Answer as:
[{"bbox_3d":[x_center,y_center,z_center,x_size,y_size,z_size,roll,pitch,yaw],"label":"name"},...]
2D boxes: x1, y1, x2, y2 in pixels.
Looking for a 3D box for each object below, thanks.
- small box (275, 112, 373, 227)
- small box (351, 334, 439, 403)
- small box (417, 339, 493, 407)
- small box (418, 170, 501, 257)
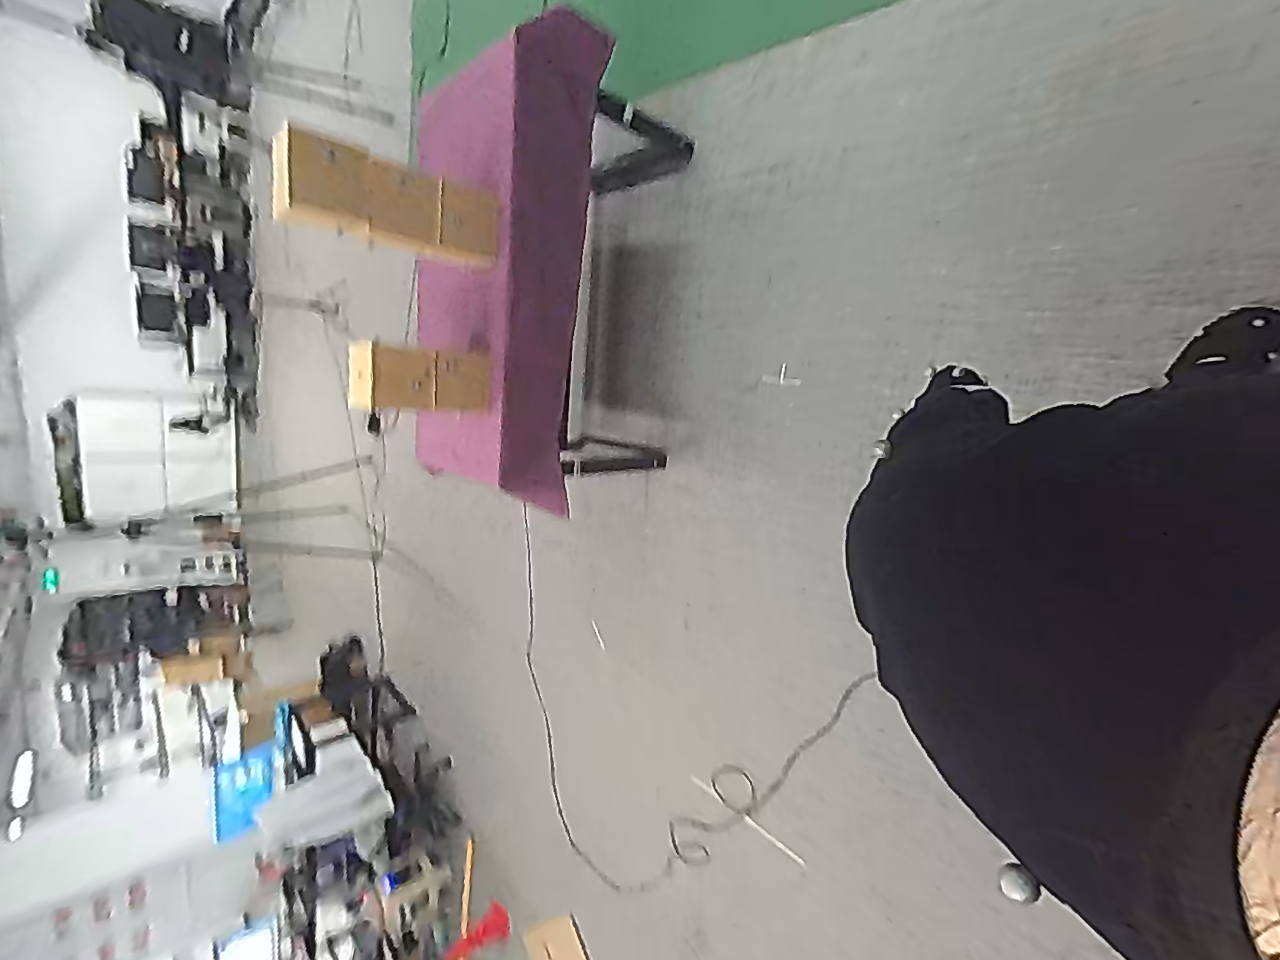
[{"bbox_3d":[-0.743,-0.720,1.277,0.168,0.176,0.179,15,104,45],"label":"small box"},{"bbox_3d":[-0.665,-0.299,1.466,0.179,0.176,0.168,13,102,44],"label":"small box"},{"bbox_3d":[-0.544,-0.310,1.576,0.168,0.176,0.179,14,103,45],"label":"small box"},{"bbox_3d":[-0.499,-0.724,1.496,0.168,0.176,0.179,17,105,44],"label":"small box"}]
